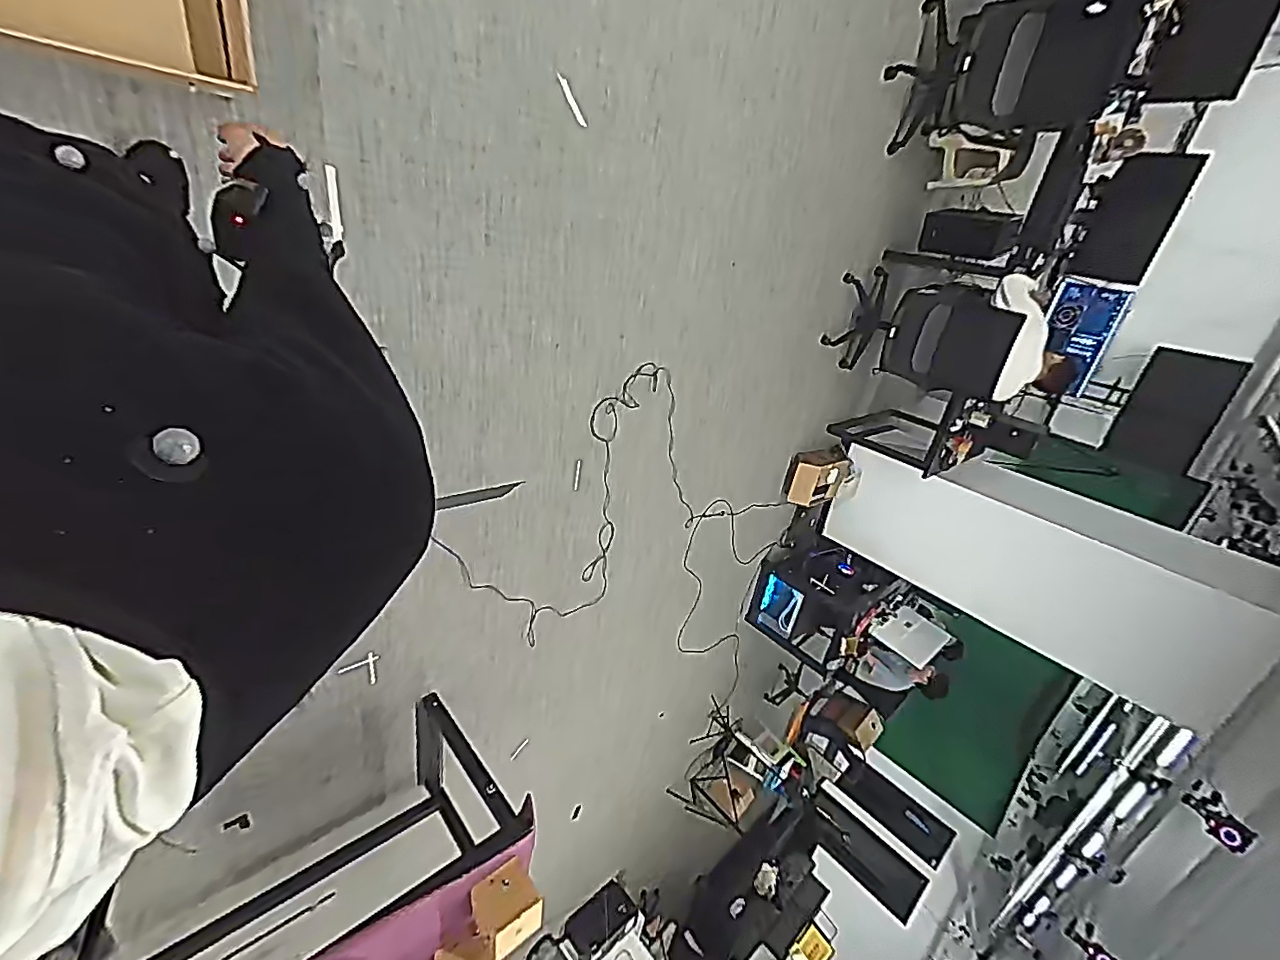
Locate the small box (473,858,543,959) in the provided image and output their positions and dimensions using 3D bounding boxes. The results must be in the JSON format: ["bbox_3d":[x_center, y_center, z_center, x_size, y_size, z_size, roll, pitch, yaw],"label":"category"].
[{"bbox_3d":[-0.434,1.395,1.768,0.168,0.176,0.179,-16,125,-38],"label":"small box"}]

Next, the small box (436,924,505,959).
[{"bbox_3d":[-0.564,1.622,1.779,0.168,0.176,0.179,-6,119,-45],"label":"small box"}]
